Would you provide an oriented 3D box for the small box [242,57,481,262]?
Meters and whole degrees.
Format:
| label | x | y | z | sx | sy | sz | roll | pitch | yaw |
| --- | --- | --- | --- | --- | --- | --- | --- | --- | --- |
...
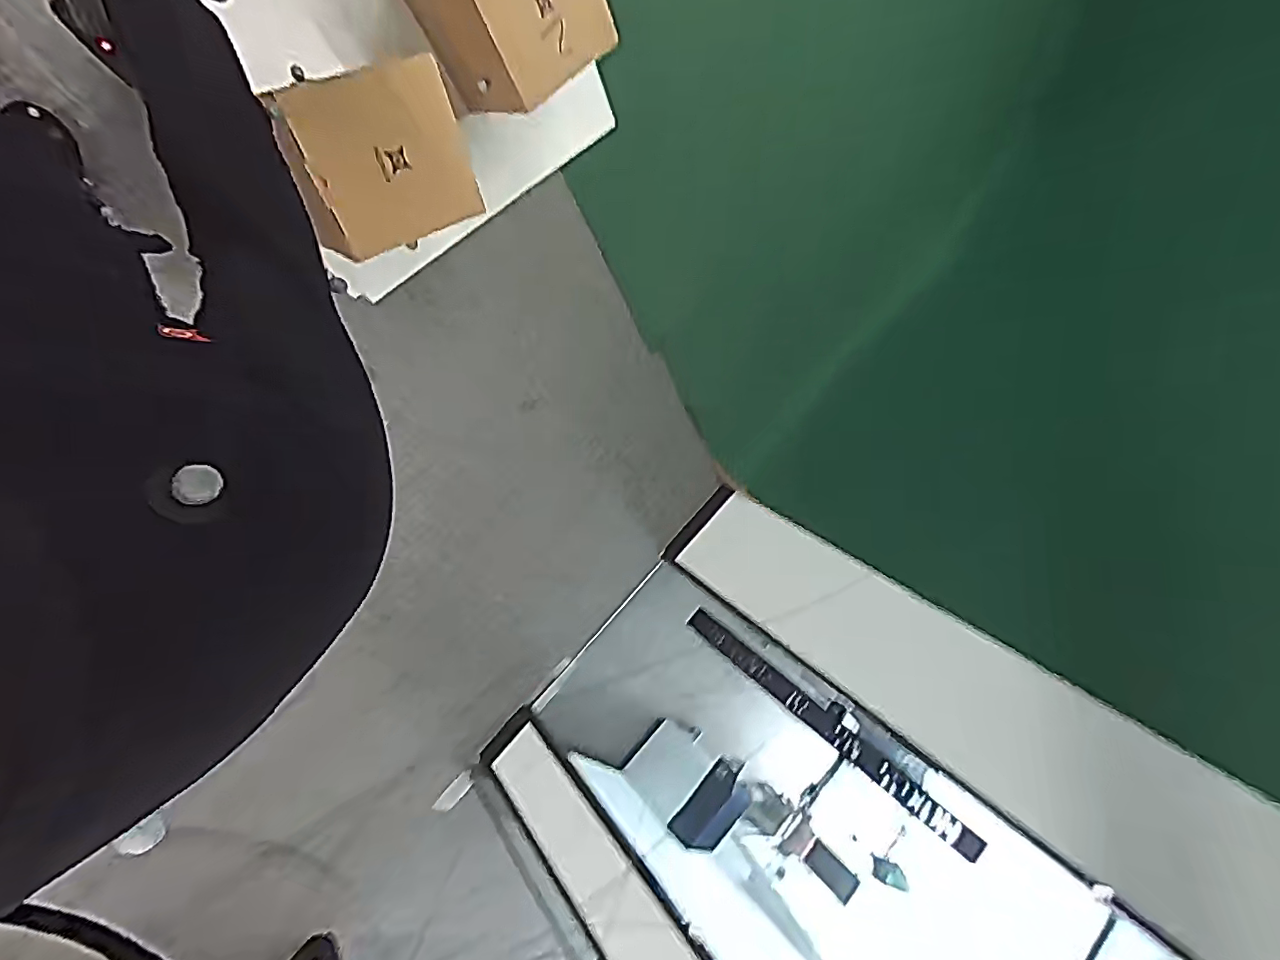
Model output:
| label | x | y | z | sx | sy | sz | roll | pitch | yaw |
| --- | --- | --- | --- | --- | --- | --- | --- | --- | --- |
| small box | -0.328 | -0.386 | 0.647 | 0.179 | 0.176 | 0.168 | -35 | 136 | -24 |
